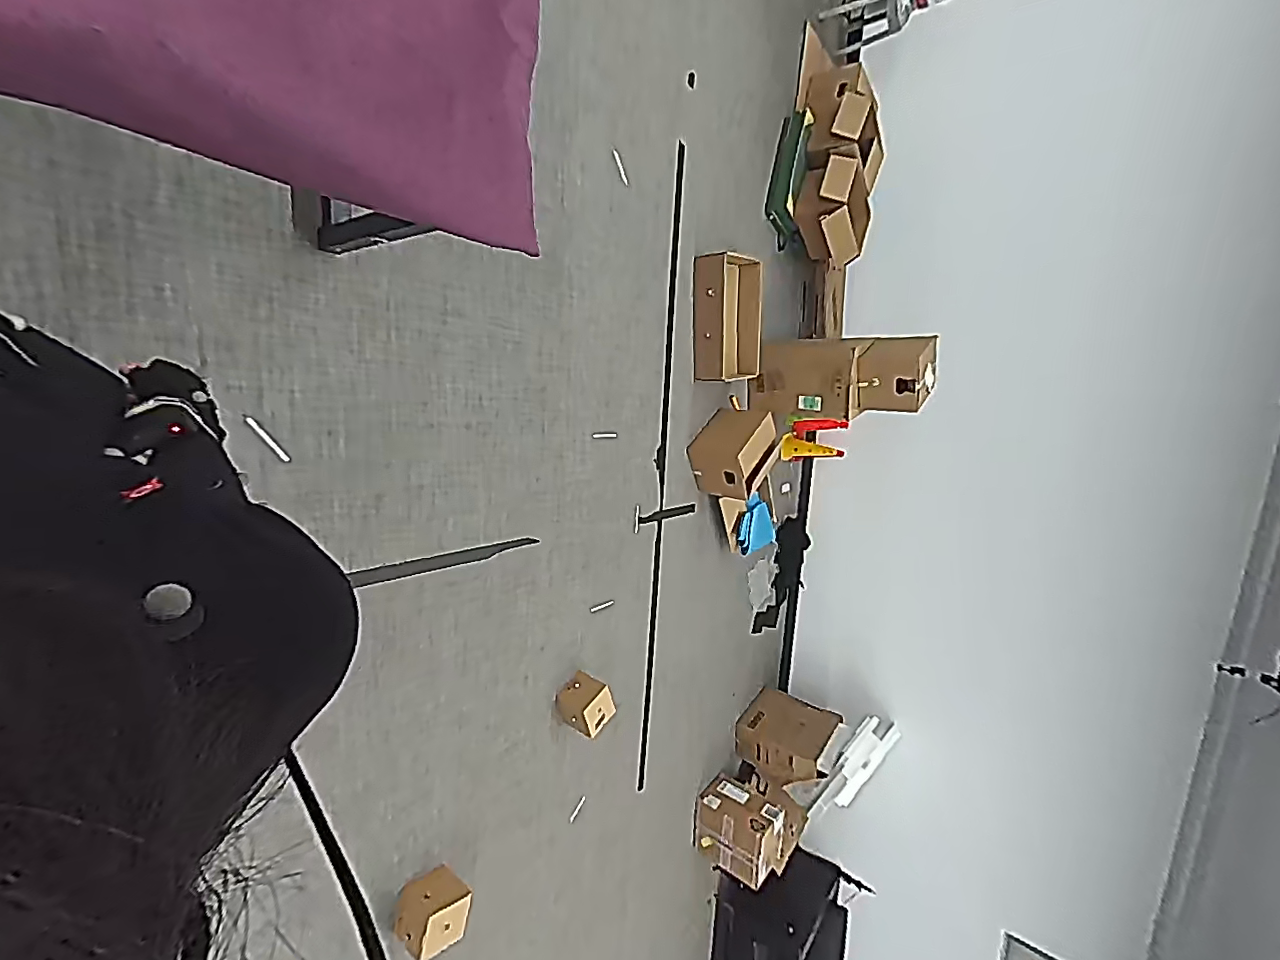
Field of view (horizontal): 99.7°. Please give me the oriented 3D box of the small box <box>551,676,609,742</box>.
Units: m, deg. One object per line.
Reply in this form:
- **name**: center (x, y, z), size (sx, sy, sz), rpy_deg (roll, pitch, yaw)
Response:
- **small box**: center (-0.265, 1.003, 2.384), size (0.168, 0.176, 0.179), rpy_deg (-38, 126, -42)

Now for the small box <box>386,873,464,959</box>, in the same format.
- **small box**: center (-0.749, 1.520, 1.873), size (0.179, 0.176, 0.168), rpy_deg (13, 89, -55)
